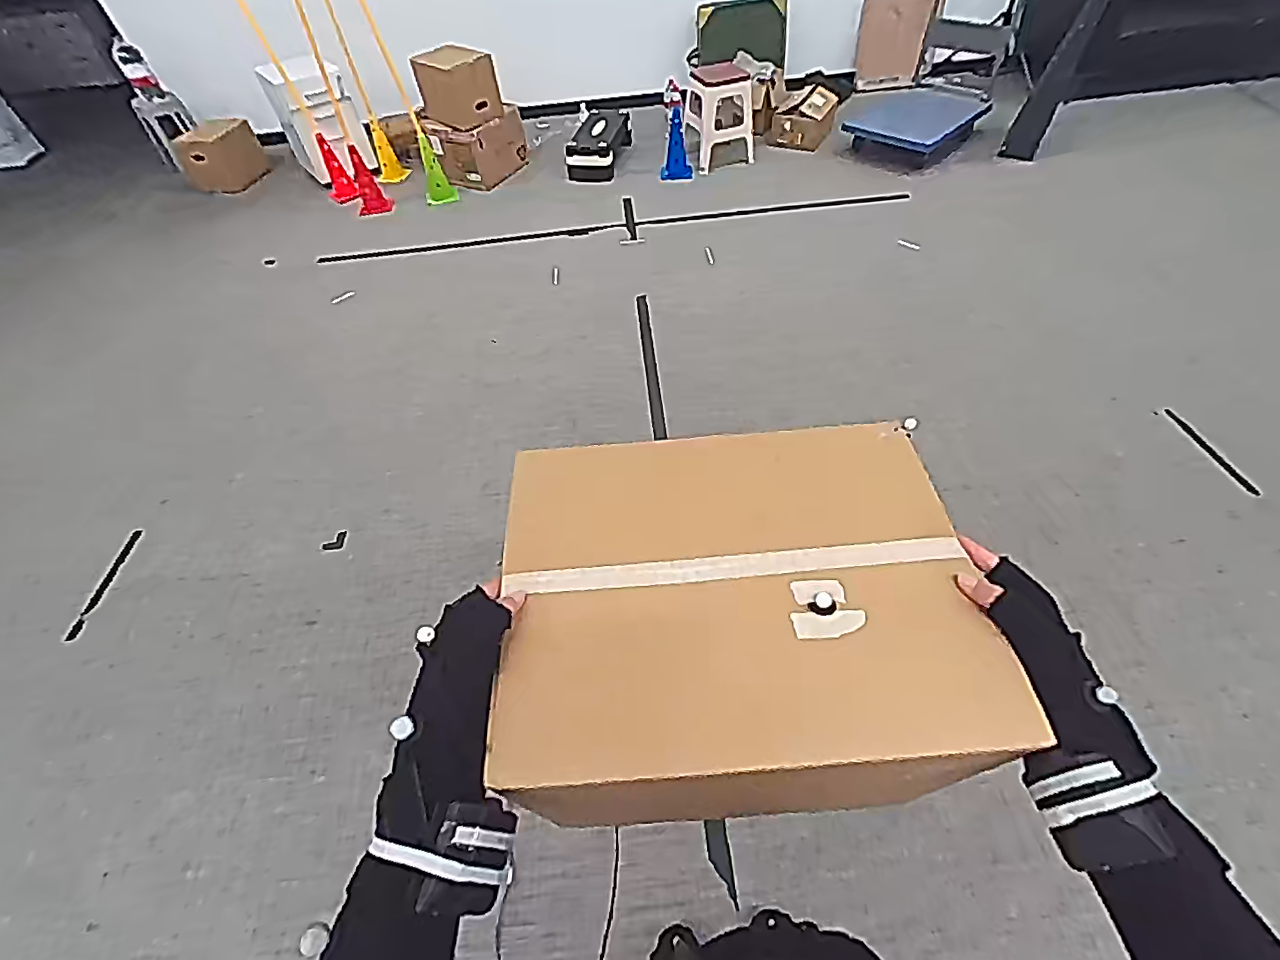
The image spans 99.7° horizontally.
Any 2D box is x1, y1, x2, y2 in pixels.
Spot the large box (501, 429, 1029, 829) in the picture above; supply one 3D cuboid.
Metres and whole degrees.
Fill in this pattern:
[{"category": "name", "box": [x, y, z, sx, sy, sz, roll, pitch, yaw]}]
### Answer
[{"category": "large box", "box": [0.088, 0.174, 0.605, 0.408, 0.320, 0.320, -5, 52, 0]}]
